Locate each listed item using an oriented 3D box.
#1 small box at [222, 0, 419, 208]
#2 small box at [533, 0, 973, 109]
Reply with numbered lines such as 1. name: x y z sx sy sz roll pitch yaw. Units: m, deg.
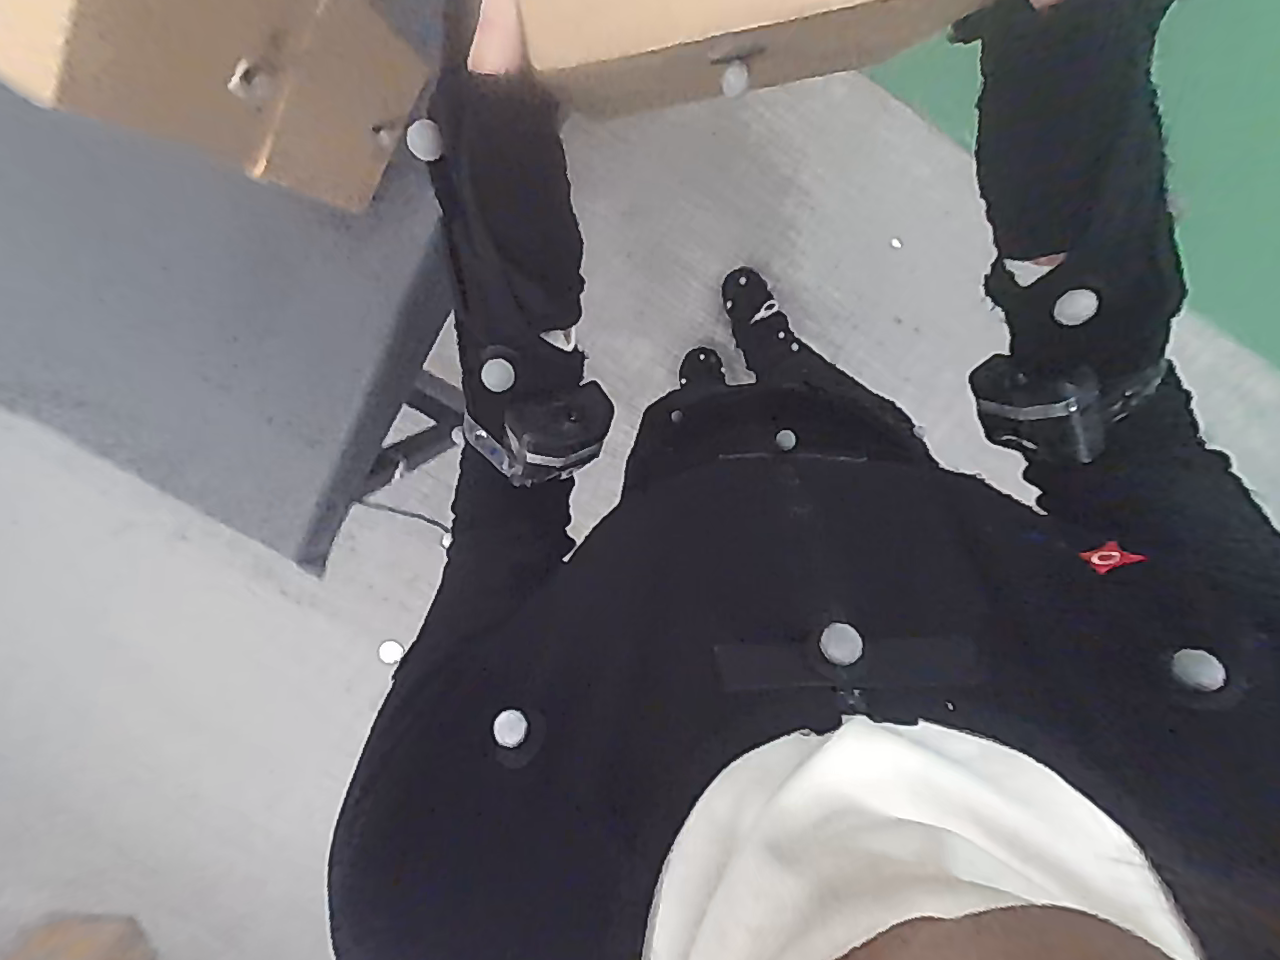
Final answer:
1. small box: -0.348 -0.405 0.531 0.168 0.176 0.179 33 106 -4
2. small box: 0.044 -0.264 0.213 0.179 0.176 0.168 -6 119 5
